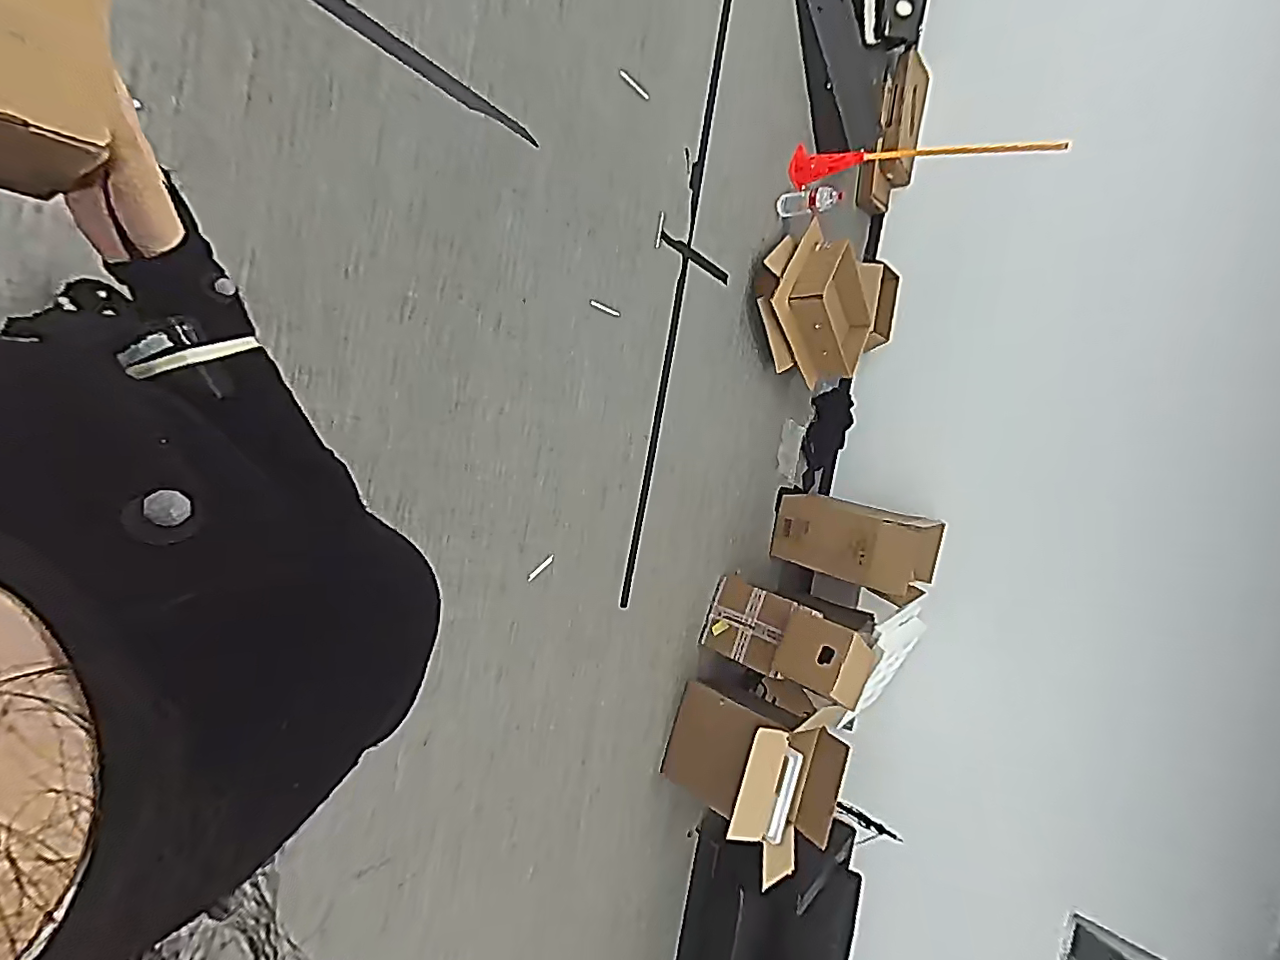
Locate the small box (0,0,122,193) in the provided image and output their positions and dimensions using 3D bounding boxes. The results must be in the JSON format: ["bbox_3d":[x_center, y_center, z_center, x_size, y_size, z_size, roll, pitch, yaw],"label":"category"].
[{"bbox_3d":[-0.391,-0.269,0.271,0.168,0.176,0.179,-4,102,-55],"label":"small box"}]
